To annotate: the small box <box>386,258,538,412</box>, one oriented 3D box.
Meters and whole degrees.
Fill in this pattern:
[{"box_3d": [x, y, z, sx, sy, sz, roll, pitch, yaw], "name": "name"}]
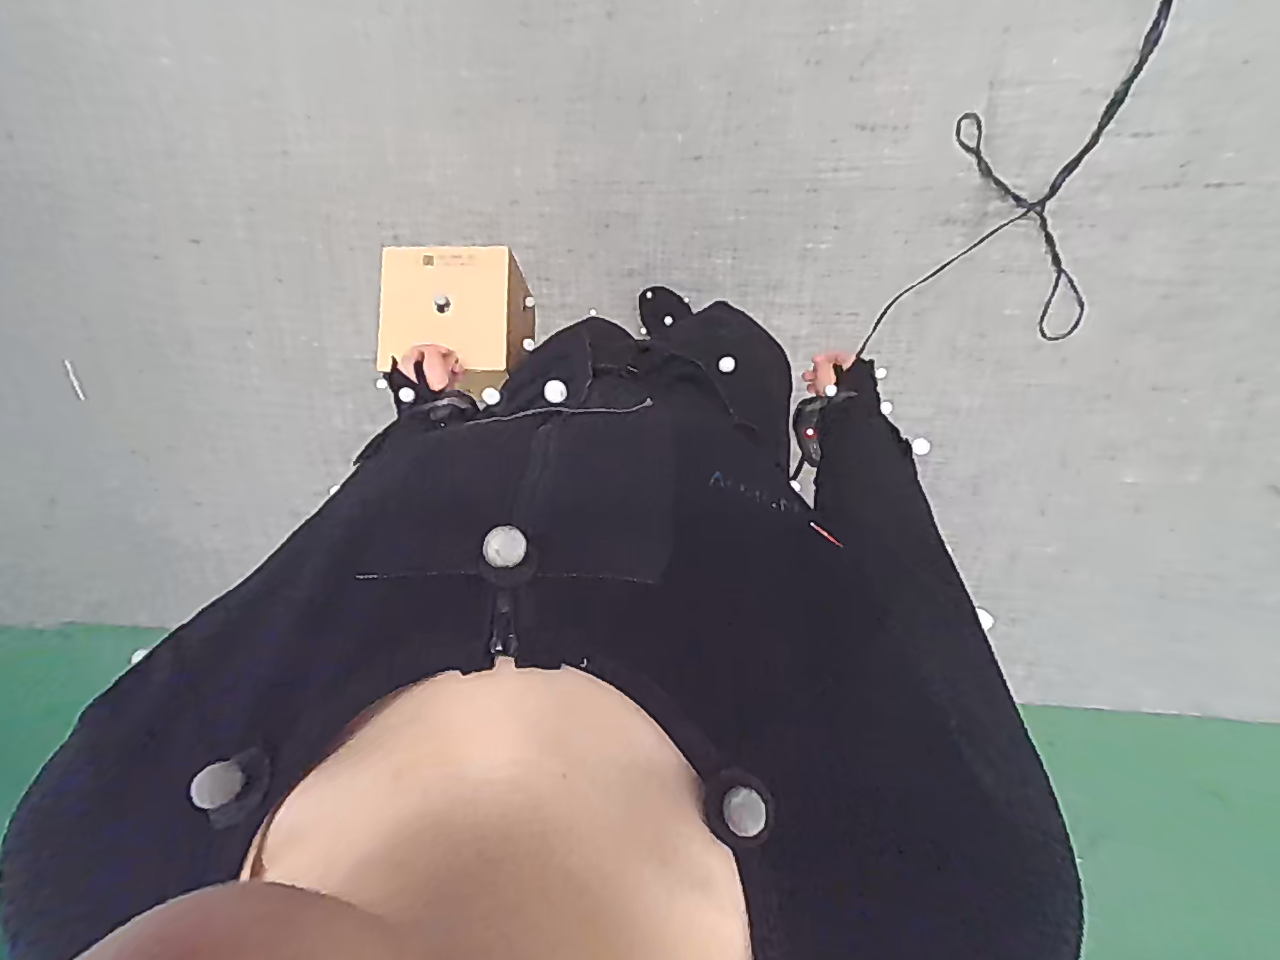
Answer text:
[{"box_3d": [-0.245, -0.202, 0.775, 0.168, 0.179, 0.176, -1, 84, 0], "name": "small box"}]
